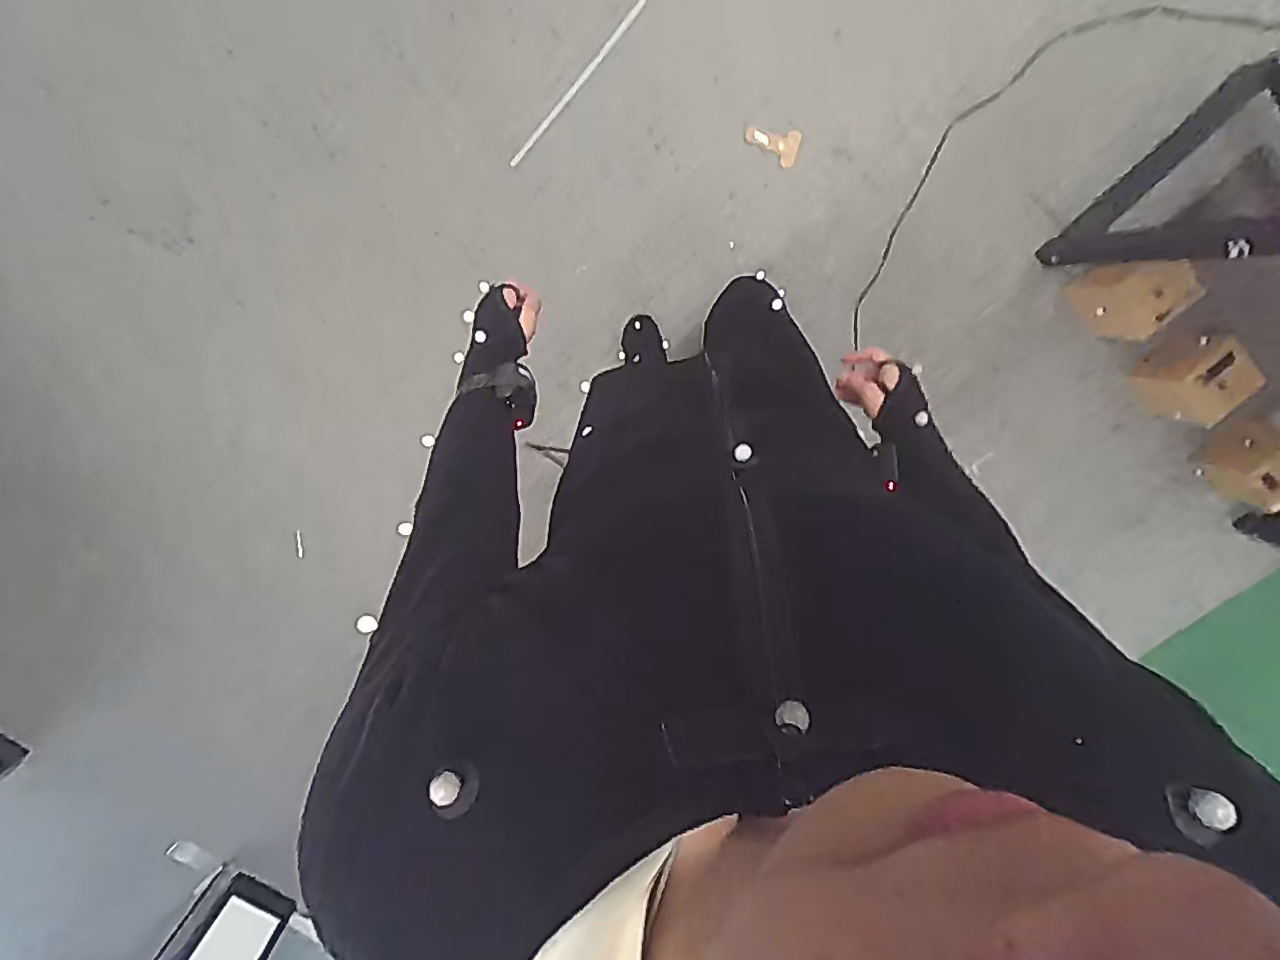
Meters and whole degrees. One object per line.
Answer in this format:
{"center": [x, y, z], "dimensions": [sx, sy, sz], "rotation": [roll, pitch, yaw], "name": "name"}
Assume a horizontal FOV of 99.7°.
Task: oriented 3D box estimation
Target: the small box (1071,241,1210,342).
{"center": [1.265, -0.475, 1.382], "dimensions": [0.168, 0.176, 0.179], "rotation": [-41, 104, 13], "name": "small box"}

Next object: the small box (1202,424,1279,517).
{"center": [1.768, -0.031, 1.531], "dimensions": [0.168, 0.176, 0.179], "rotation": [40, 104, -13], "name": "small box"}

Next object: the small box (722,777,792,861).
{"center": [0.419, 1.235, 1.979], "dimensions": [0.168, 0.176, 0.179], "rotation": [42, 105, -13], "name": "small box"}
